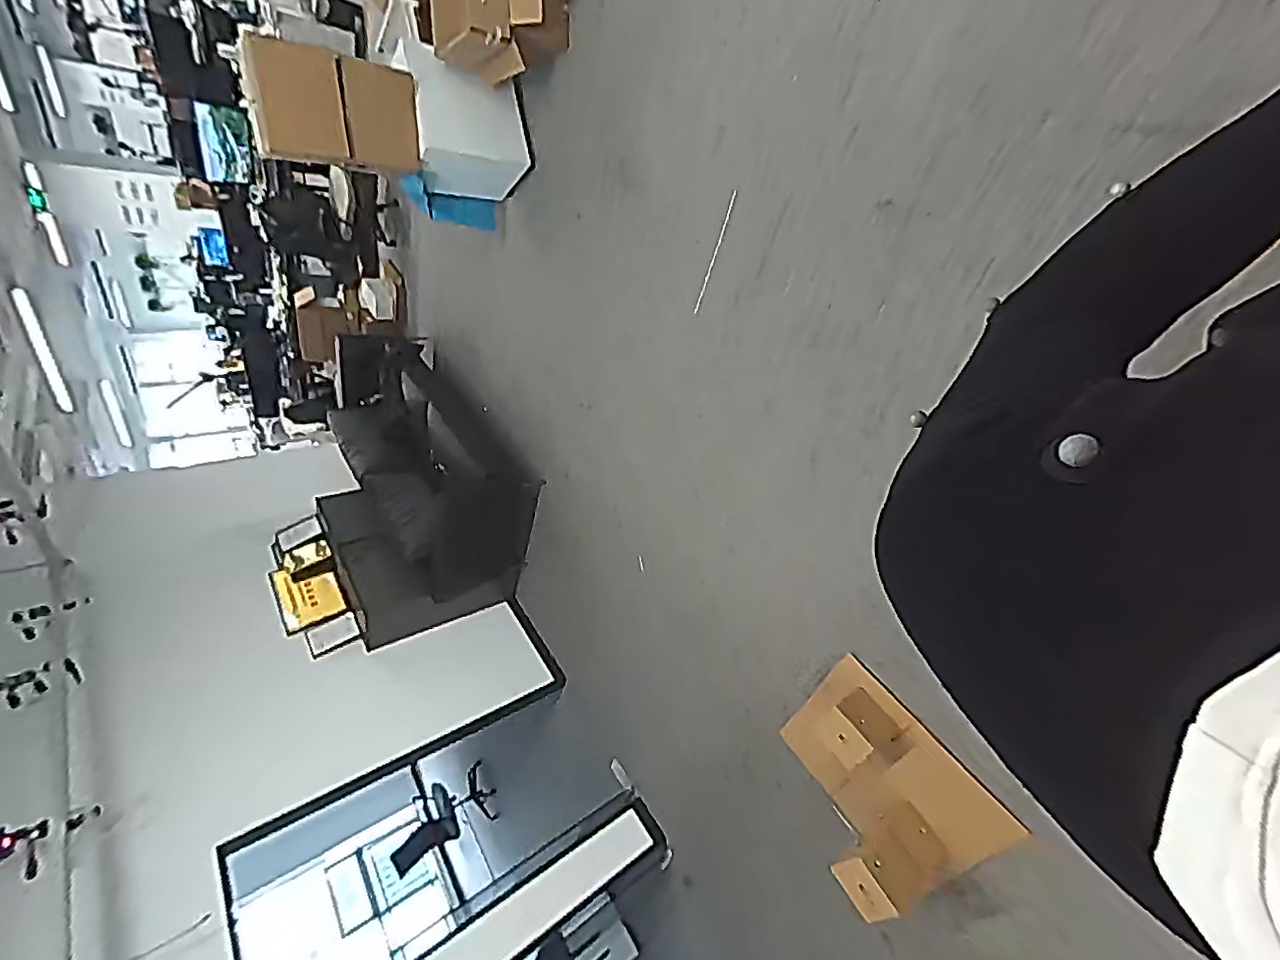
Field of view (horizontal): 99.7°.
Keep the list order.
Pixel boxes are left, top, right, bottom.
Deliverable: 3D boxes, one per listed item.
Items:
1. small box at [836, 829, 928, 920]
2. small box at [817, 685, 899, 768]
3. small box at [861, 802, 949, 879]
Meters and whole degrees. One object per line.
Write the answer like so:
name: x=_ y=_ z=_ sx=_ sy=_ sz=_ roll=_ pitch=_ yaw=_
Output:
small box: x=0.783 y=1.268 z=1.752 sx=0.179 sy=0.176 sz=0.168 roll=53 pitch=138 yaw=26
small box: x=0.773 y=0.864 z=1.907 sx=0.179 sy=0.176 sz=0.168 roll=47 pitch=134 yaw=31
small box: x=0.910 y=1.241 z=1.855 sx=0.179 sy=0.176 sz=0.168 roll=53 pitch=138 yaw=26
